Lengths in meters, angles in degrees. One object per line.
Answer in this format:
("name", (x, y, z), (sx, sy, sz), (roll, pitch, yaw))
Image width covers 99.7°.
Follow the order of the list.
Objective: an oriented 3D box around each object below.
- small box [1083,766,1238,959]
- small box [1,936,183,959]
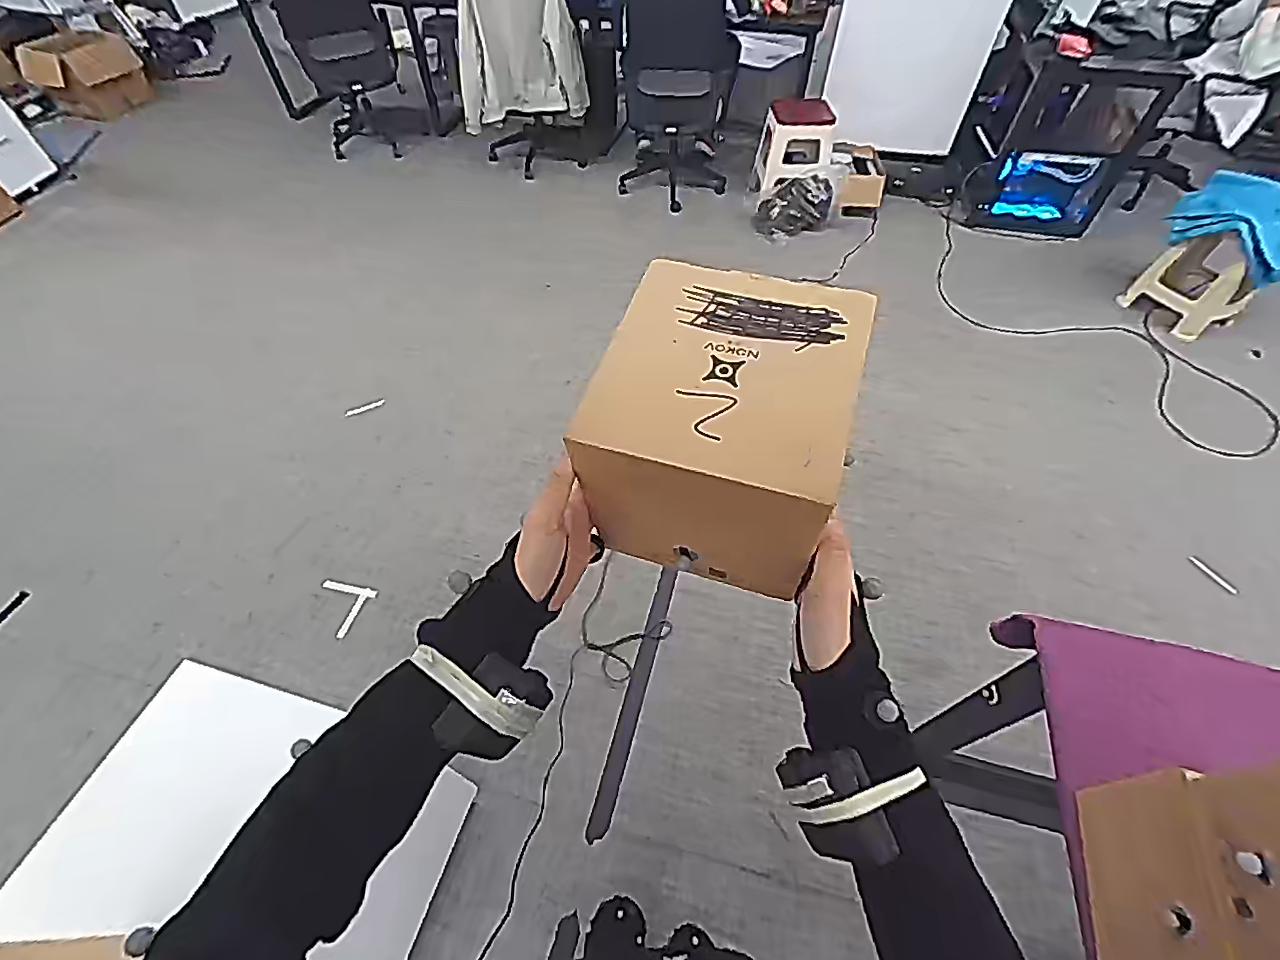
("small box", (0.580, 0.413, 0.525), (0.168, 0.176, 0.179), (15, 54, 12))
("small box", (-0.594, 0.605, 0.559), (0.179, 0.176, 0.168), (12, 53, 11))
